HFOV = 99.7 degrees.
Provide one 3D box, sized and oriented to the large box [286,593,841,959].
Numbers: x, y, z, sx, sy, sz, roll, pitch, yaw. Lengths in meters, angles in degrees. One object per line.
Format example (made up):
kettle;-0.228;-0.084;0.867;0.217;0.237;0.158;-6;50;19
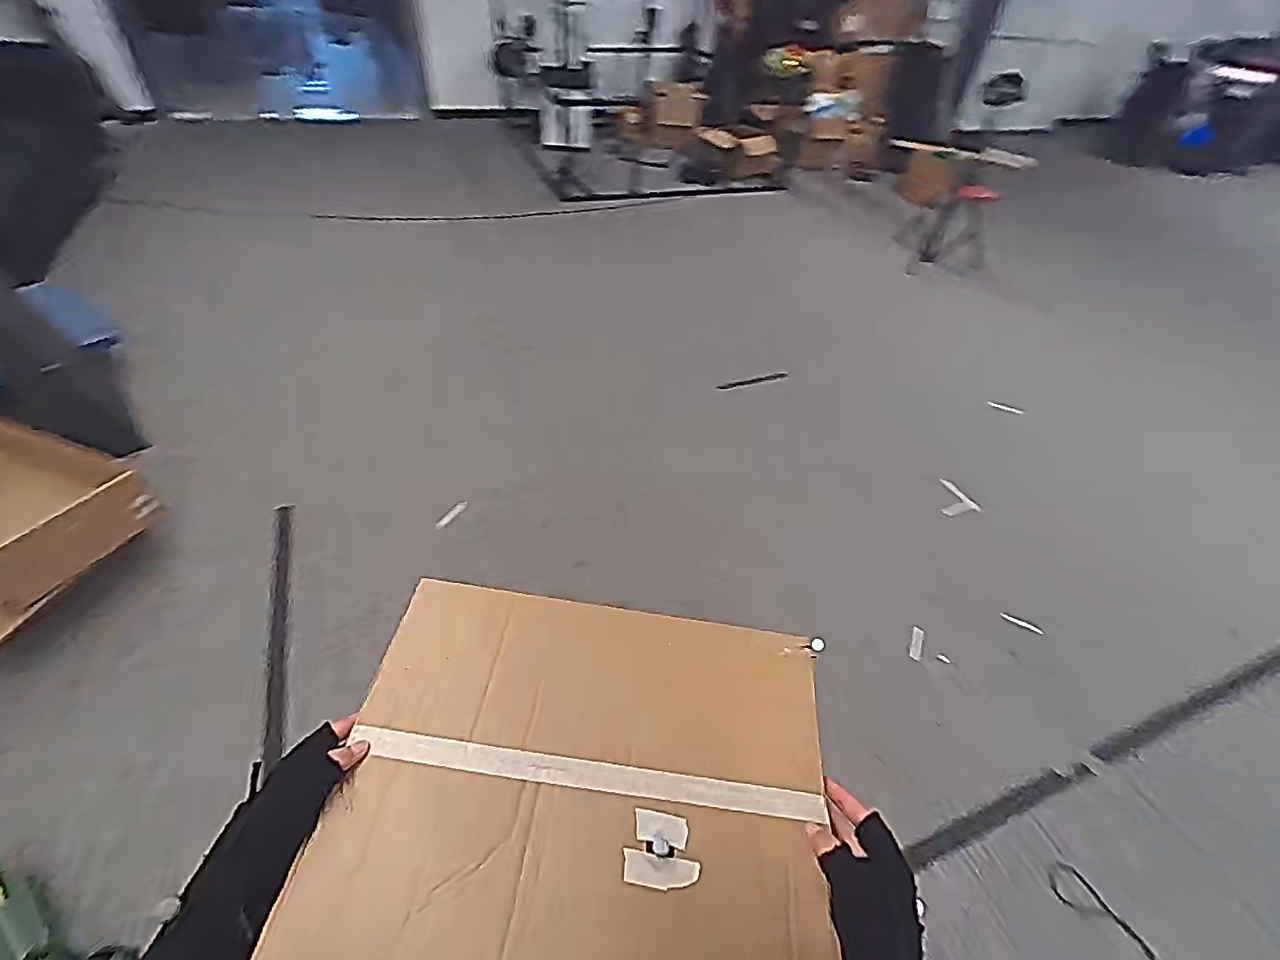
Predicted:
large box;-0.049;0.357;0.575;0.408;0.320;0.320;9;49;1
